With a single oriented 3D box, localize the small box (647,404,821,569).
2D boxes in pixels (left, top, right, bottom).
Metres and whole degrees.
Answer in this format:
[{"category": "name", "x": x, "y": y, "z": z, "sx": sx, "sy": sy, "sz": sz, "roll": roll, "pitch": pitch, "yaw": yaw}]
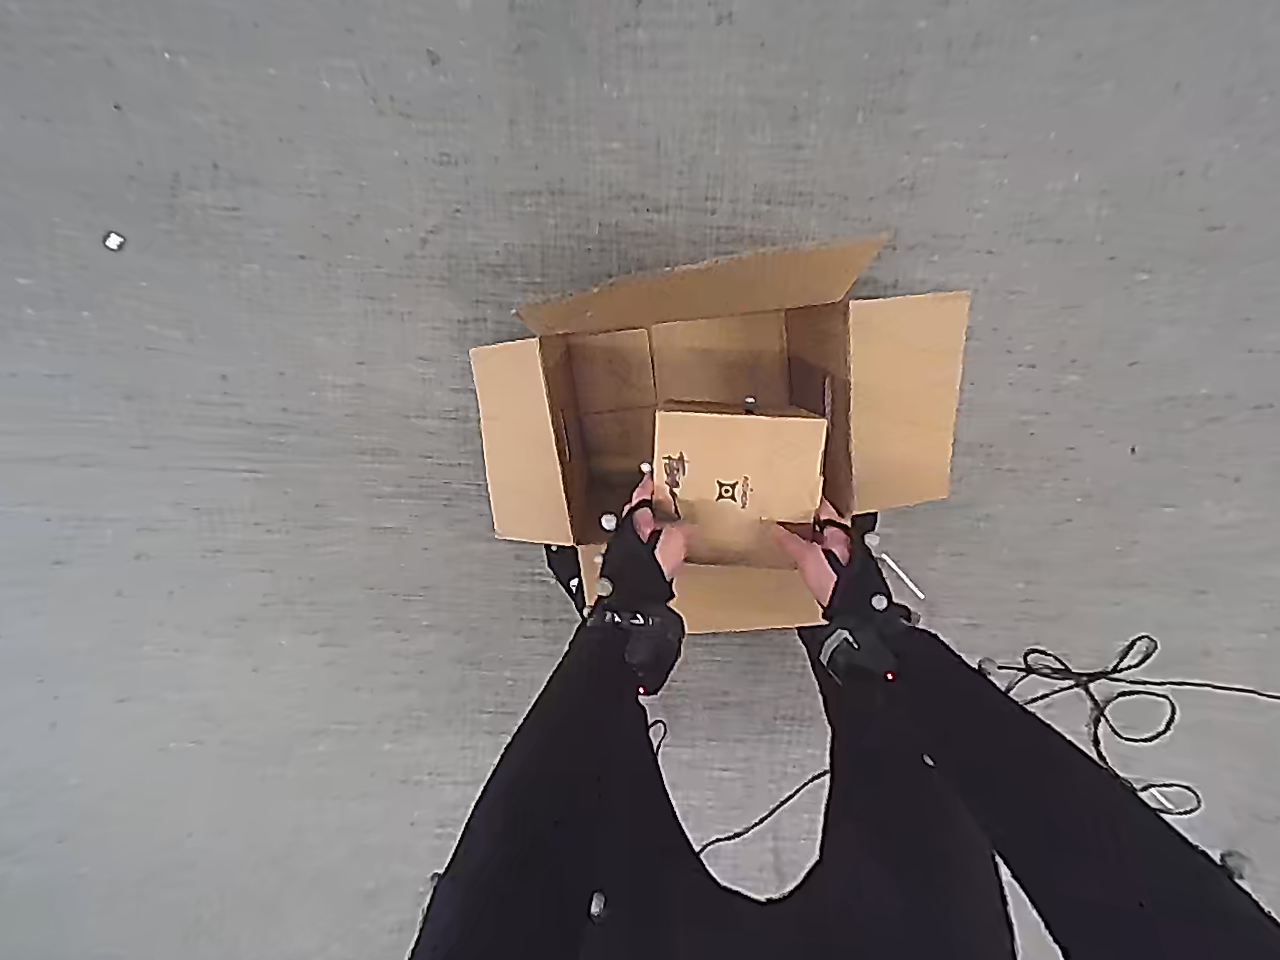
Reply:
[{"category": "small box", "x": 0.103, "y": -0.003, "z": 0.661, "sx": 0.179, "sy": 0.176, "sz": 0.168, "roll": 3, "pitch": 102, "yaw": 3}]
